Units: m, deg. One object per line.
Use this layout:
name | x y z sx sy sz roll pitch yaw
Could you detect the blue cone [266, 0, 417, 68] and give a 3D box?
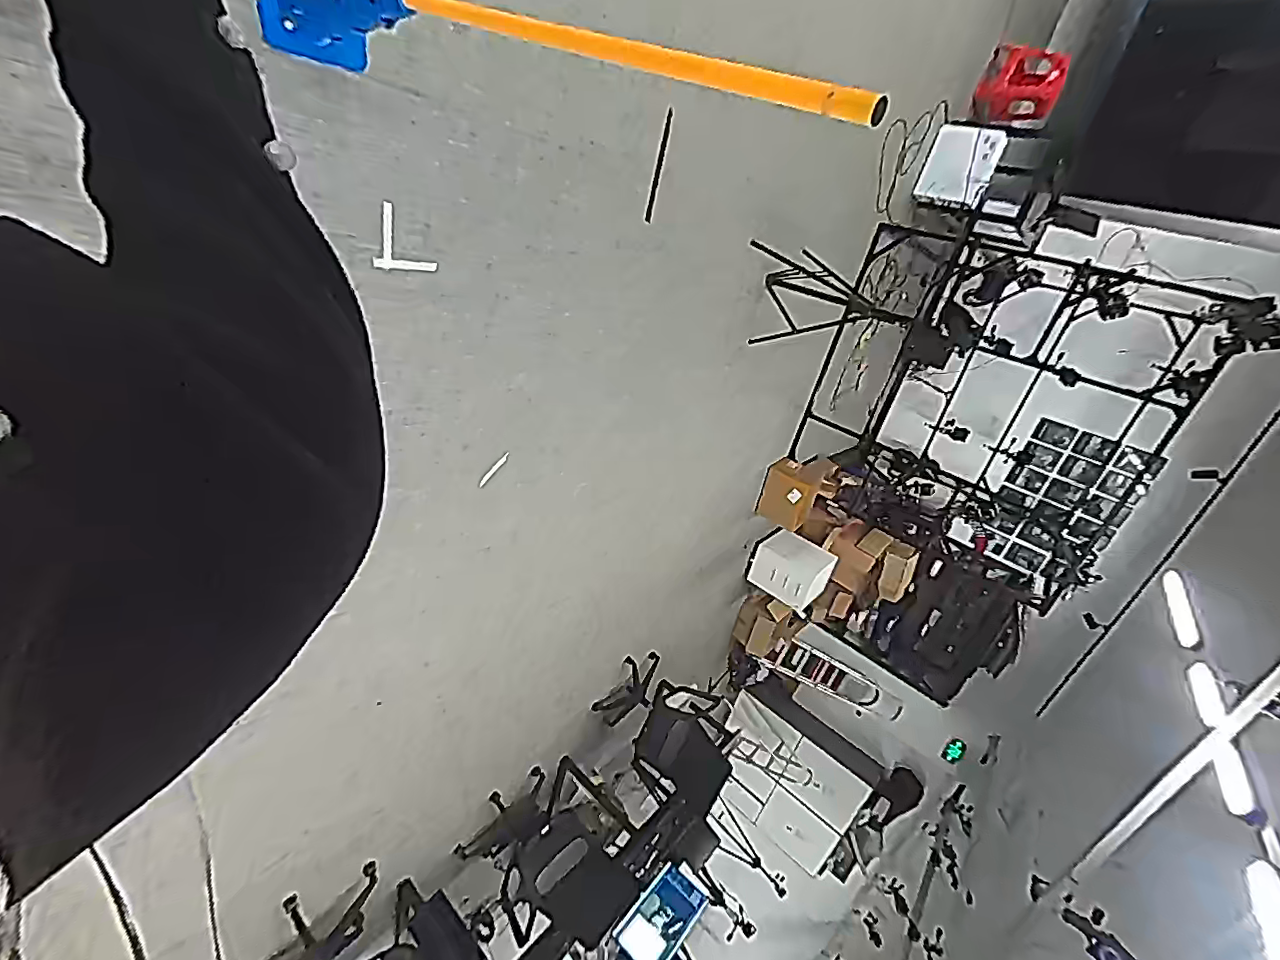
blue cone | -0.517 -0.875 0.984 0.193 0.380 0.192 -21 132 -47
